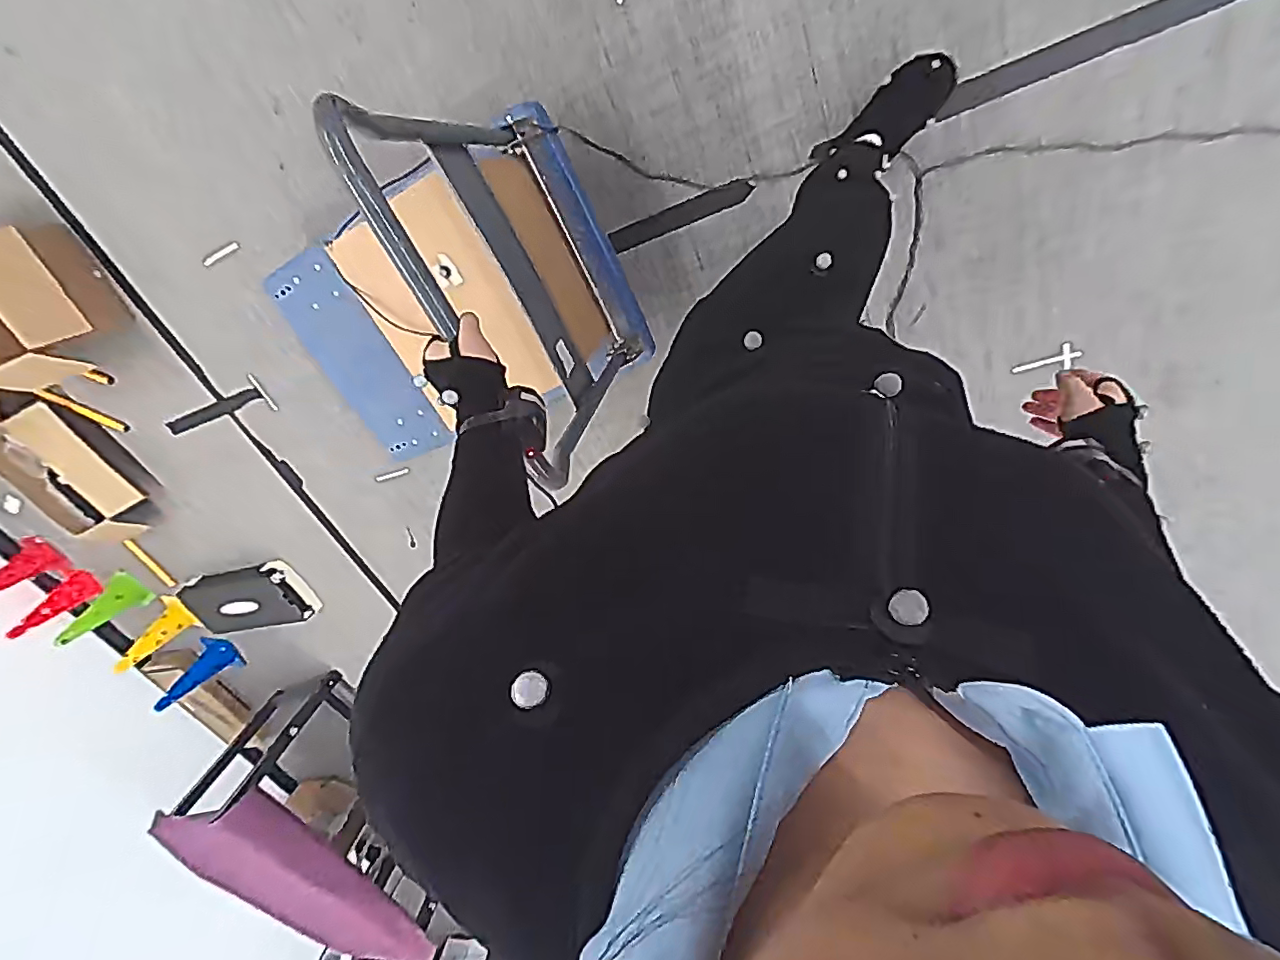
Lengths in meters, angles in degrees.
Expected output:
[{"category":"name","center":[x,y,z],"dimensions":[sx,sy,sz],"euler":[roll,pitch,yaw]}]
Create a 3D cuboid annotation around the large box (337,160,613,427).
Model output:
[{"category":"large box","center":[-0.309,-0.388,1.135],"dimensions":[0.320,0.320,0.408],"euler":[-18,115,23]}]
